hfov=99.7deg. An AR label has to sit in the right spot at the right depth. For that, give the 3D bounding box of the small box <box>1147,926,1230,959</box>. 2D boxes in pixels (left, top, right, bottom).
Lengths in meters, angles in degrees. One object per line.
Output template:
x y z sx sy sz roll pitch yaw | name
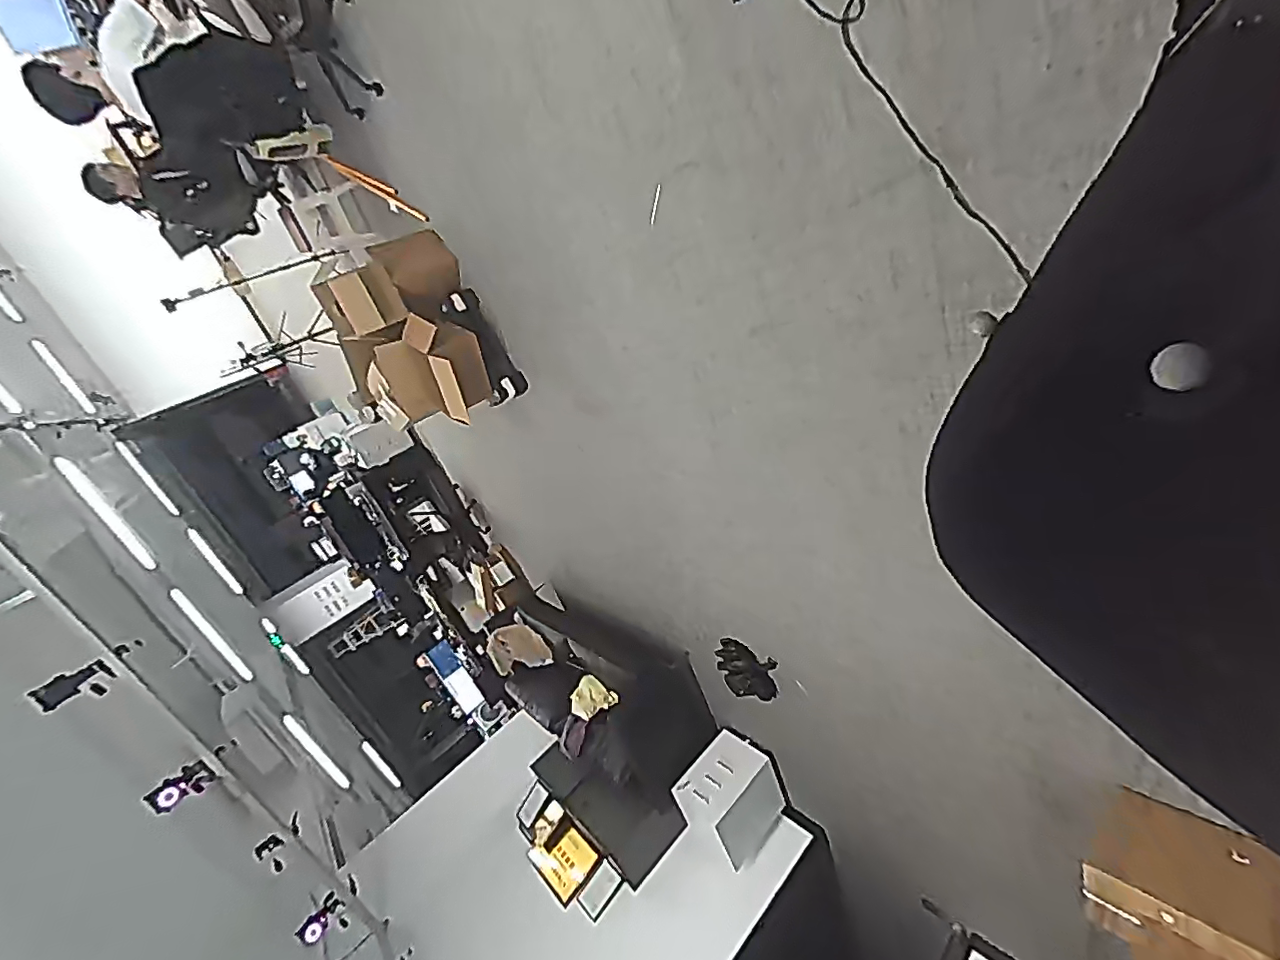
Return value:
1.467 1.344 1.436 0.179 0.176 0.168 16 130 48 | small box
